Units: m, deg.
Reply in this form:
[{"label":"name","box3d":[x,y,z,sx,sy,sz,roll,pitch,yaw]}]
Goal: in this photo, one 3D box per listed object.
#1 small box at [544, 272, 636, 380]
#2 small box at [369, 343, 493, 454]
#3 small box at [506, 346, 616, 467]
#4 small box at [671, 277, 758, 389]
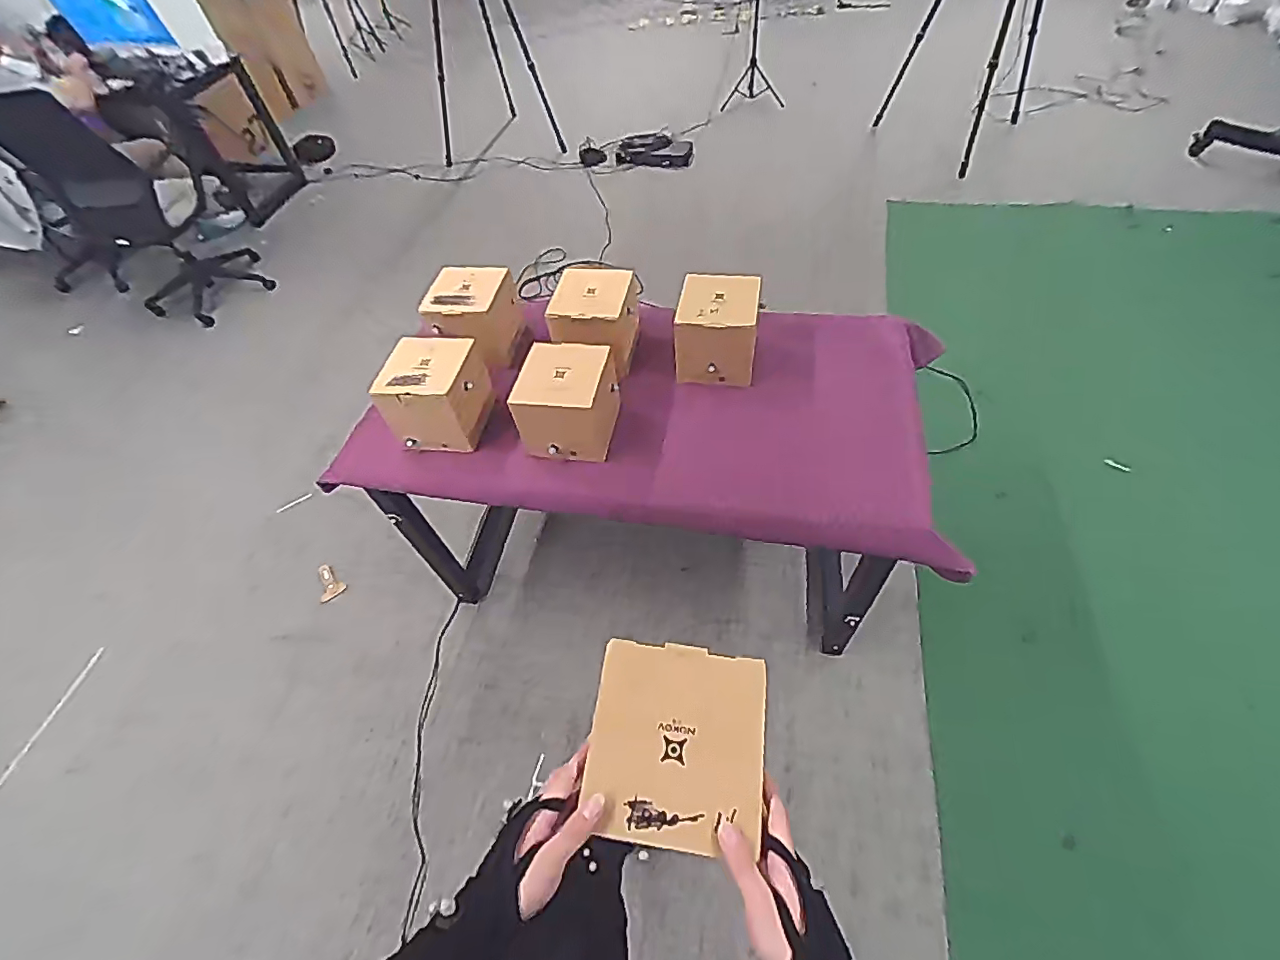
[{"label":"small box","box3d":[-0.107,-0.359,1.263,0.168,0.176,0.179,5,56,10]},{"label":"small box","box3d":[-0.434,-0.172,1.159,0.168,0.176,0.179,3,52,9]},{"label":"small box","box3d":[-0.151,-0.151,1.114,0.168,0.176,0.179,5,55,11]},{"label":"small box","box3d":[0.166,-0.327,1.202,0.168,0.176,0.179,6,55,12]}]
